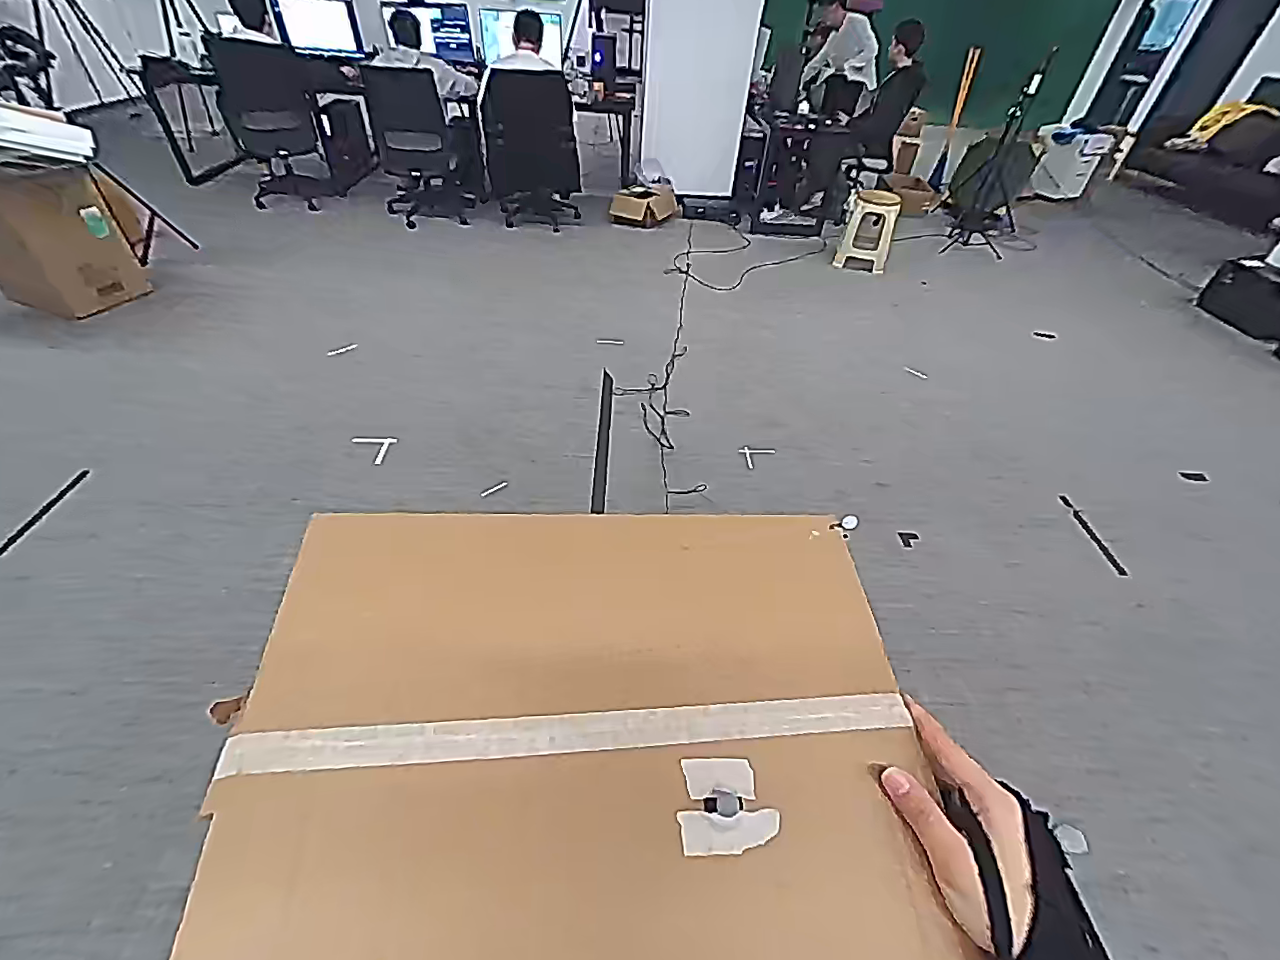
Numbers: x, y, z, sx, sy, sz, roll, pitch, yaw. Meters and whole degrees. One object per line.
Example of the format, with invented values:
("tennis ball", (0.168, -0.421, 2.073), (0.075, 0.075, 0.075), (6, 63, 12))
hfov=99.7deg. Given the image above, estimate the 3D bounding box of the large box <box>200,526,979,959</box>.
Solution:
("large box", (-0.044, 0.249, 0.455), (0.408, 0.320, 0.320), (1, 54, -10))
